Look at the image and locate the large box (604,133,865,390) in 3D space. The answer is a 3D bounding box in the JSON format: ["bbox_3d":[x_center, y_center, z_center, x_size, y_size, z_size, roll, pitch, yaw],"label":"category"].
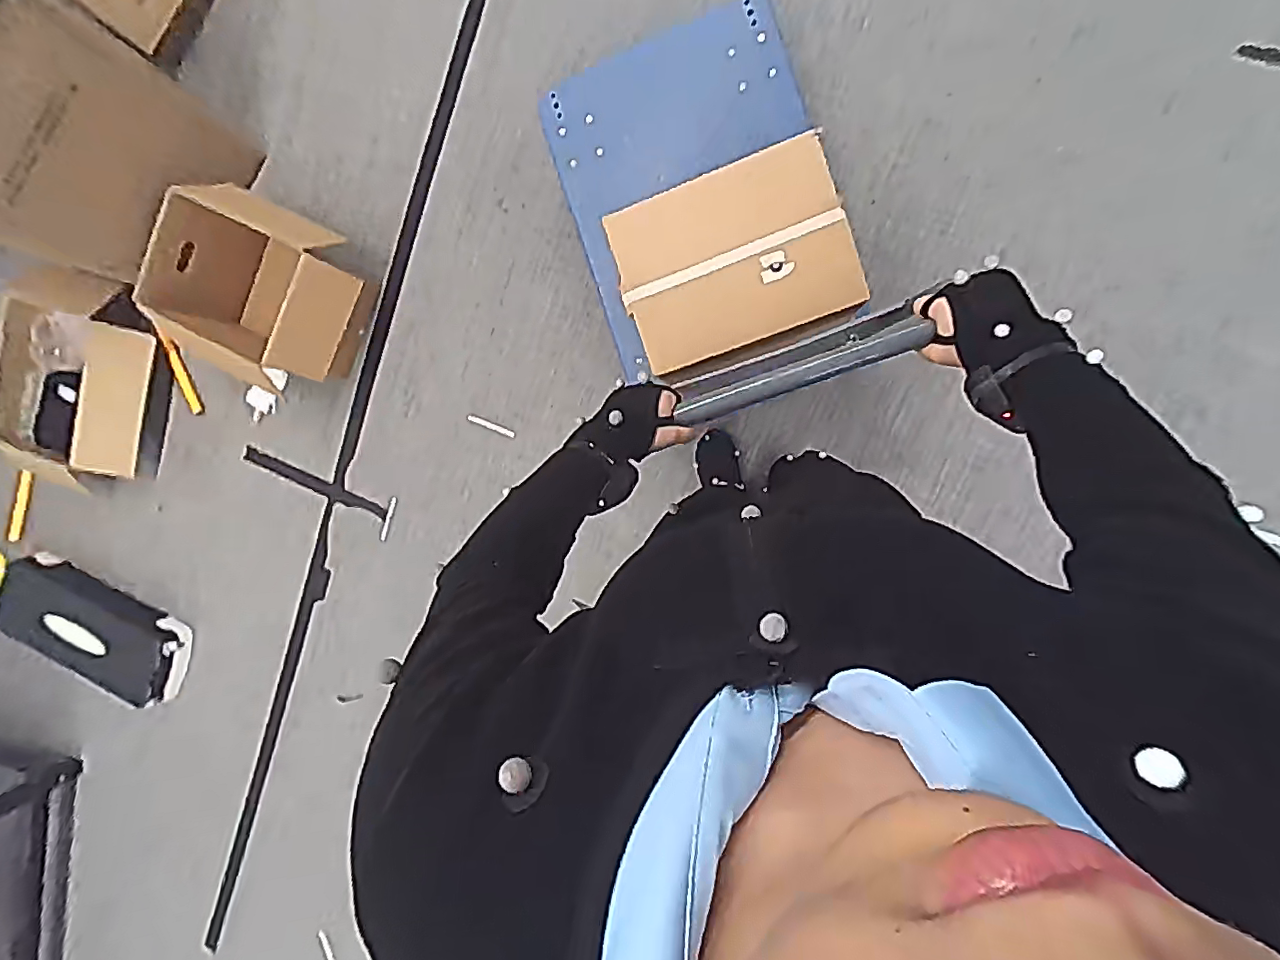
[{"bbox_3d":[0.184,-0.411,1.126,0.408,0.320,0.320,-19,92,9],"label":"large box"}]
